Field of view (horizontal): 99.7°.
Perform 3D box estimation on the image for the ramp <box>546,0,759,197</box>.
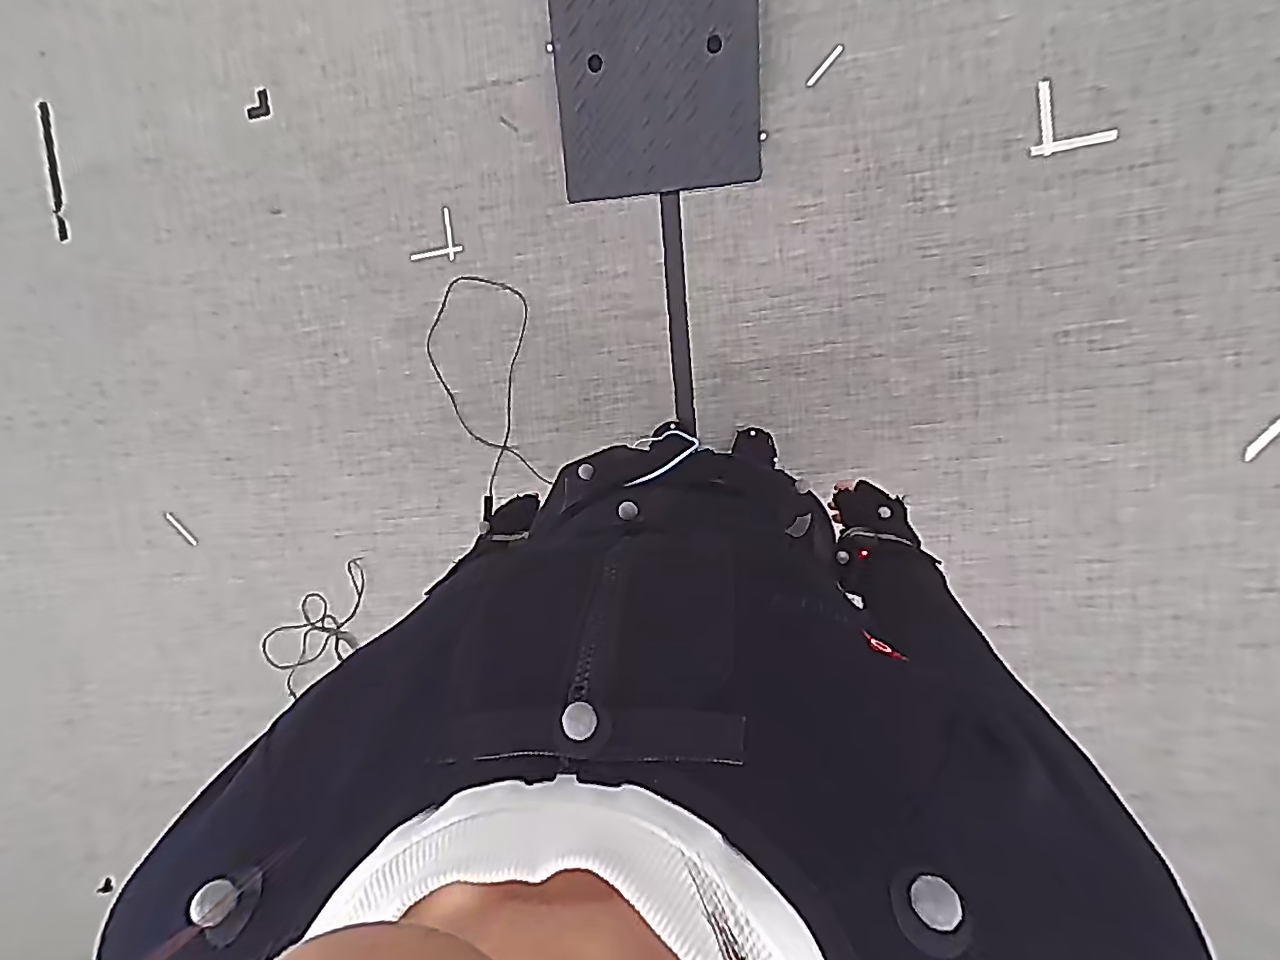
[{"bbox_3d":[0.014,-1.217,1.223,0.509,0.206,0.991,-4,96,8],"label":"ramp"}]
